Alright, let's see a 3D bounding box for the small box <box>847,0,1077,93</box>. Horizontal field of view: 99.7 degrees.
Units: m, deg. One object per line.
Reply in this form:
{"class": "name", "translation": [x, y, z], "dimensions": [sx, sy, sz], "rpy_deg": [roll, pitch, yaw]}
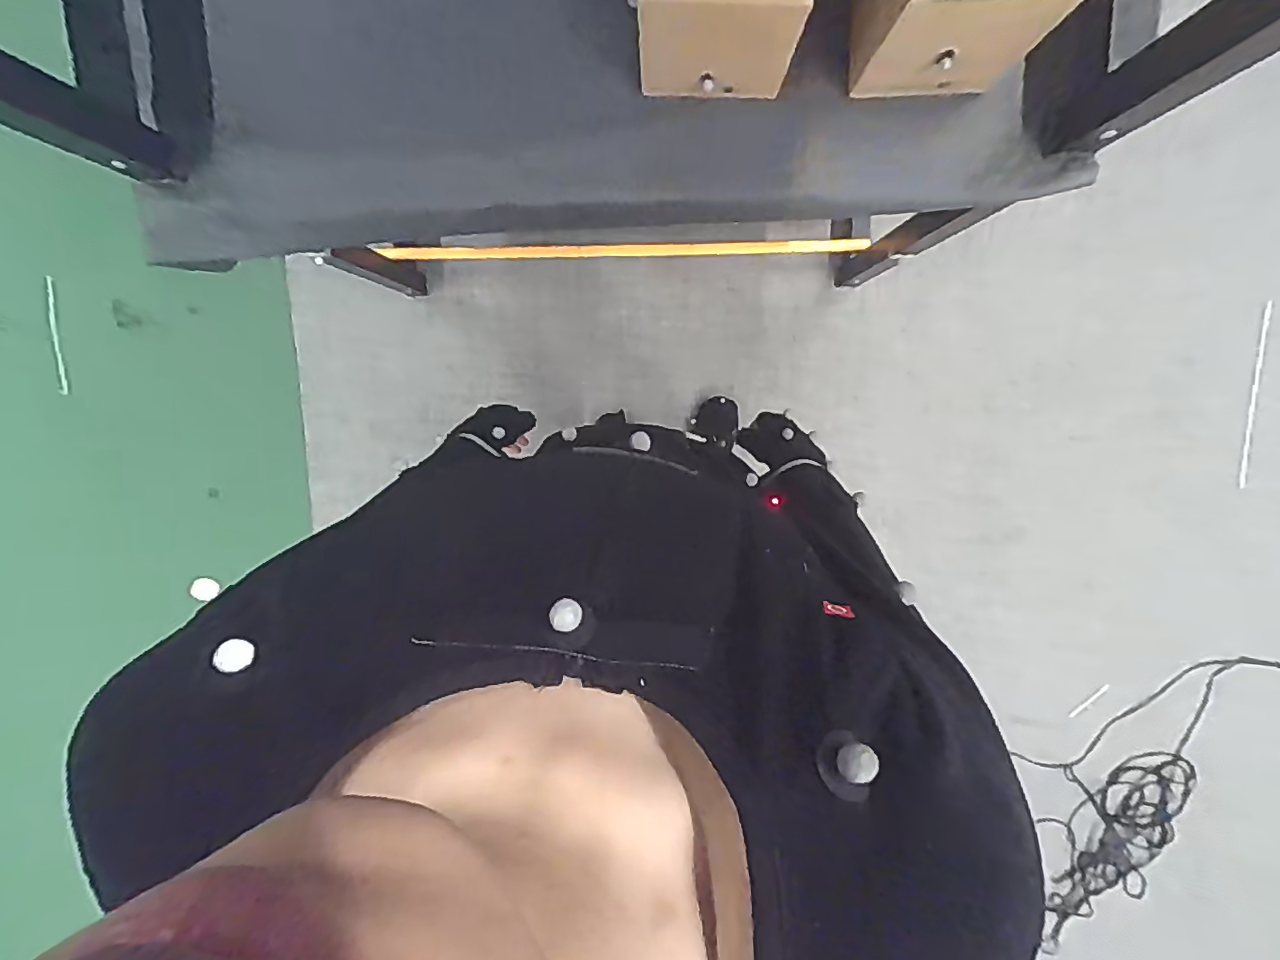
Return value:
{"class": "small box", "translation": [0.329, -0.539, 0.568], "dimensions": [0.168, 0.176, 0.179], "rpy_deg": [-1, 98, 2]}
